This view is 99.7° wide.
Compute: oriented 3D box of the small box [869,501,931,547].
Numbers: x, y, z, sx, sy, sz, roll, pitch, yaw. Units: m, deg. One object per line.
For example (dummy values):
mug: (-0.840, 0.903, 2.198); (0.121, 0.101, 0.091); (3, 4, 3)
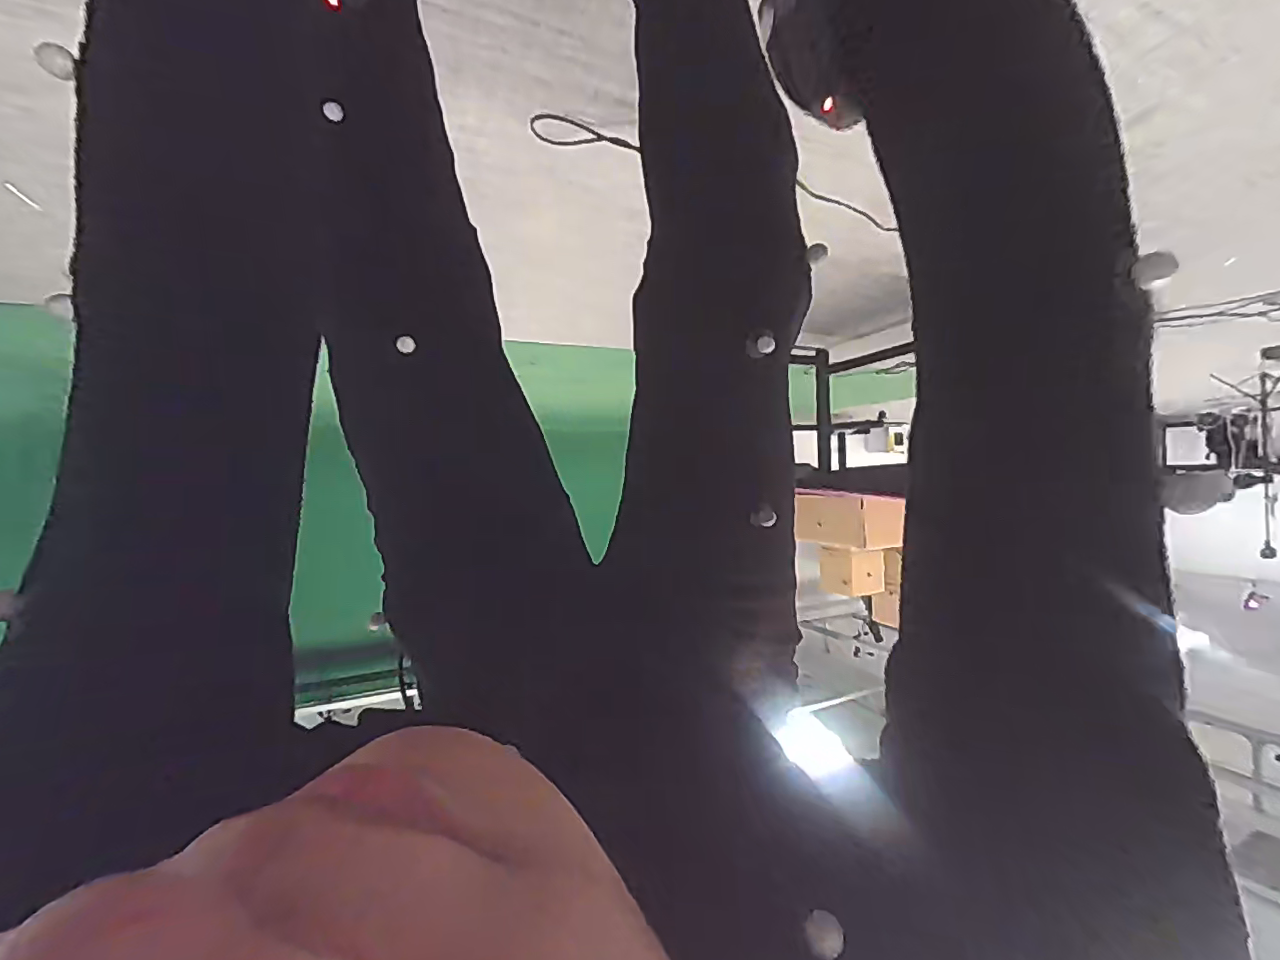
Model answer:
small box: (1.074, 0.177, 2.227); (0.179, 0.176, 0.168); (1, 180, -24)

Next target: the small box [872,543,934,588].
small box: (1.082, 0.341, 2.230); (0.179, 0.176, 0.168); (-1, -179, -23)

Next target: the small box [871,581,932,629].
small box: (1.081, 0.504, 2.232); (0.179, 0.176, 0.168); (1, 180, -23)
